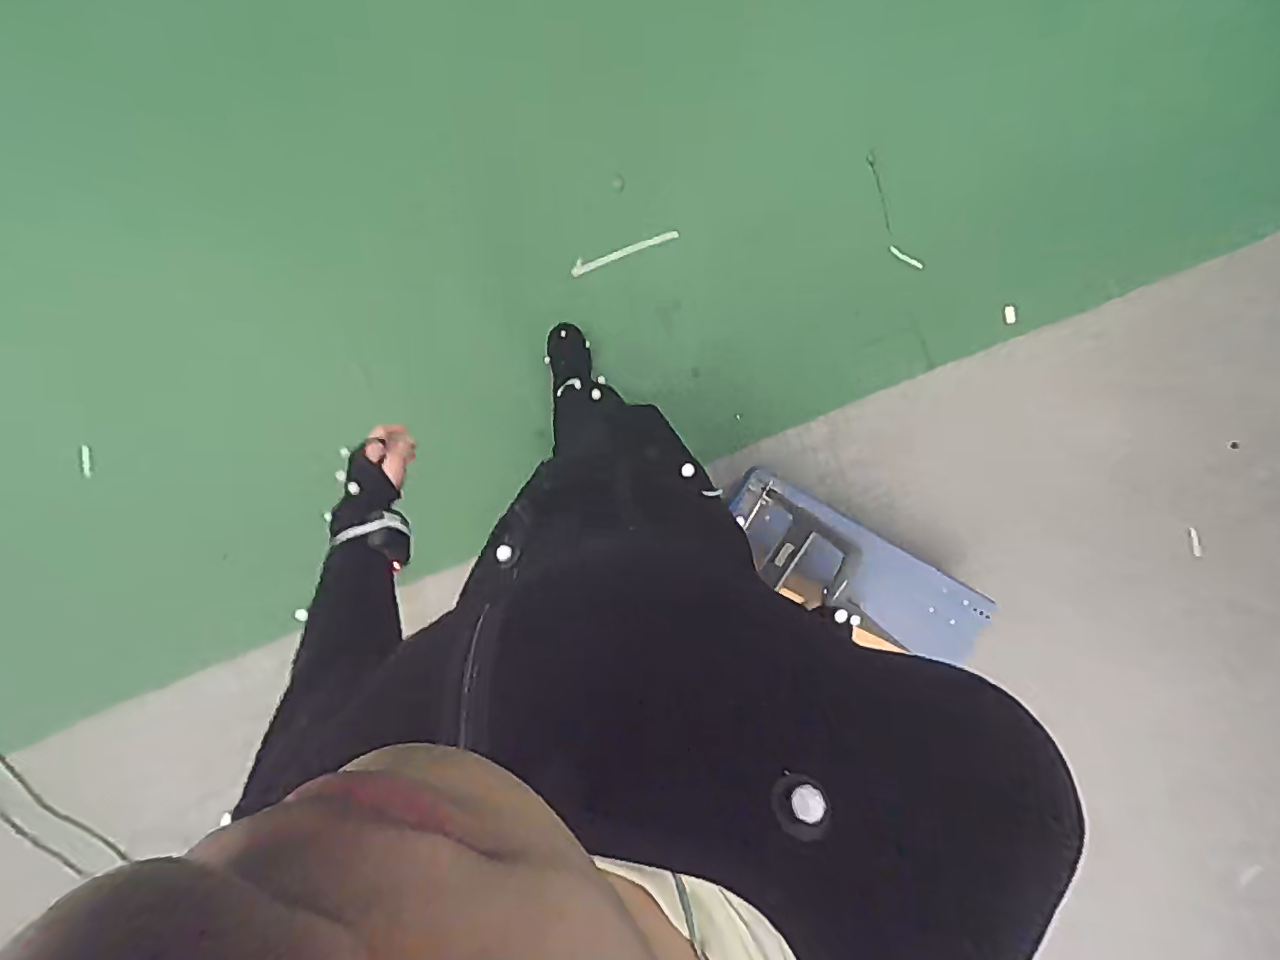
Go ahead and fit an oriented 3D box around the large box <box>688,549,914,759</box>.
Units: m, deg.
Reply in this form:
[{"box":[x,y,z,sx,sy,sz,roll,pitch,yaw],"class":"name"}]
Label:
[{"box":[0.390,0.431,1.406,0.408,0.320,0.320,28,97,-9],"class":"large box"}]
